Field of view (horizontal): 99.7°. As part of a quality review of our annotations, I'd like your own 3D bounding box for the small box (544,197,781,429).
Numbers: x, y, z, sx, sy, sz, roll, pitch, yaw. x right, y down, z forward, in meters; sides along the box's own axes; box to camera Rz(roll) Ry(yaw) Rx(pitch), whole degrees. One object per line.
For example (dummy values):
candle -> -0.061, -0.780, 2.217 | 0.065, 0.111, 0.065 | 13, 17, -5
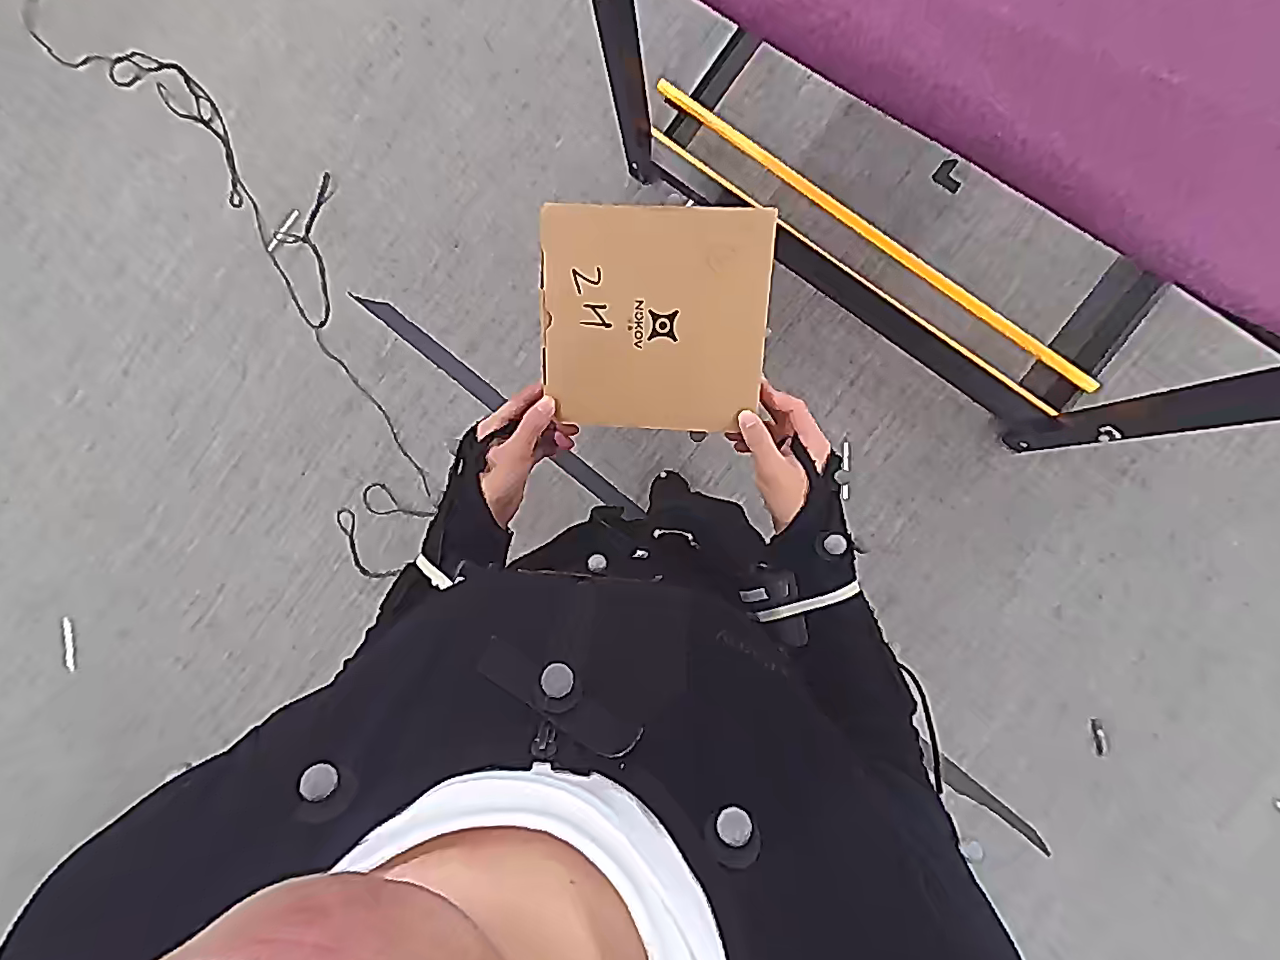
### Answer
small box -> 0.019, -0.147, 0.493 | 0.179, 0.176, 0.168 | 4, 106, 5
